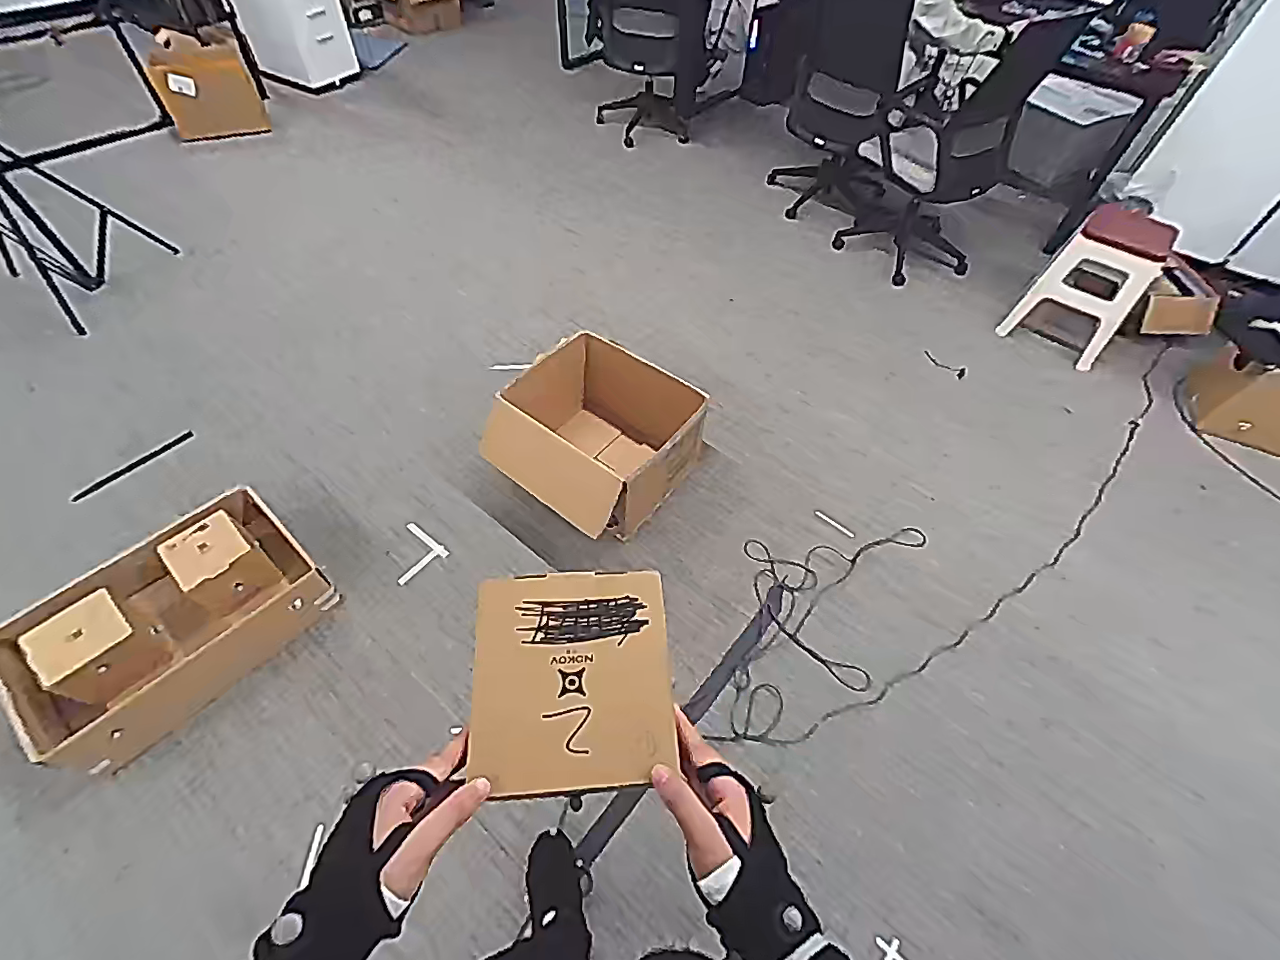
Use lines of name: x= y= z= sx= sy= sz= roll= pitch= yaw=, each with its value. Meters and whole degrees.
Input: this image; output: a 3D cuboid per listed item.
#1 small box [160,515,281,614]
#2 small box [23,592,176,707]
small box: x=-1.105 y=0.233 z=1.439 sx=0.179 sy=0.176 sz=0.168 roll=39 pitch=62 yaw=21
small box: x=-1.285 y=0.411 z=1.298 sx=0.168 sy=0.176 sz=0.179 roll=37 pitch=58 yaw=19
